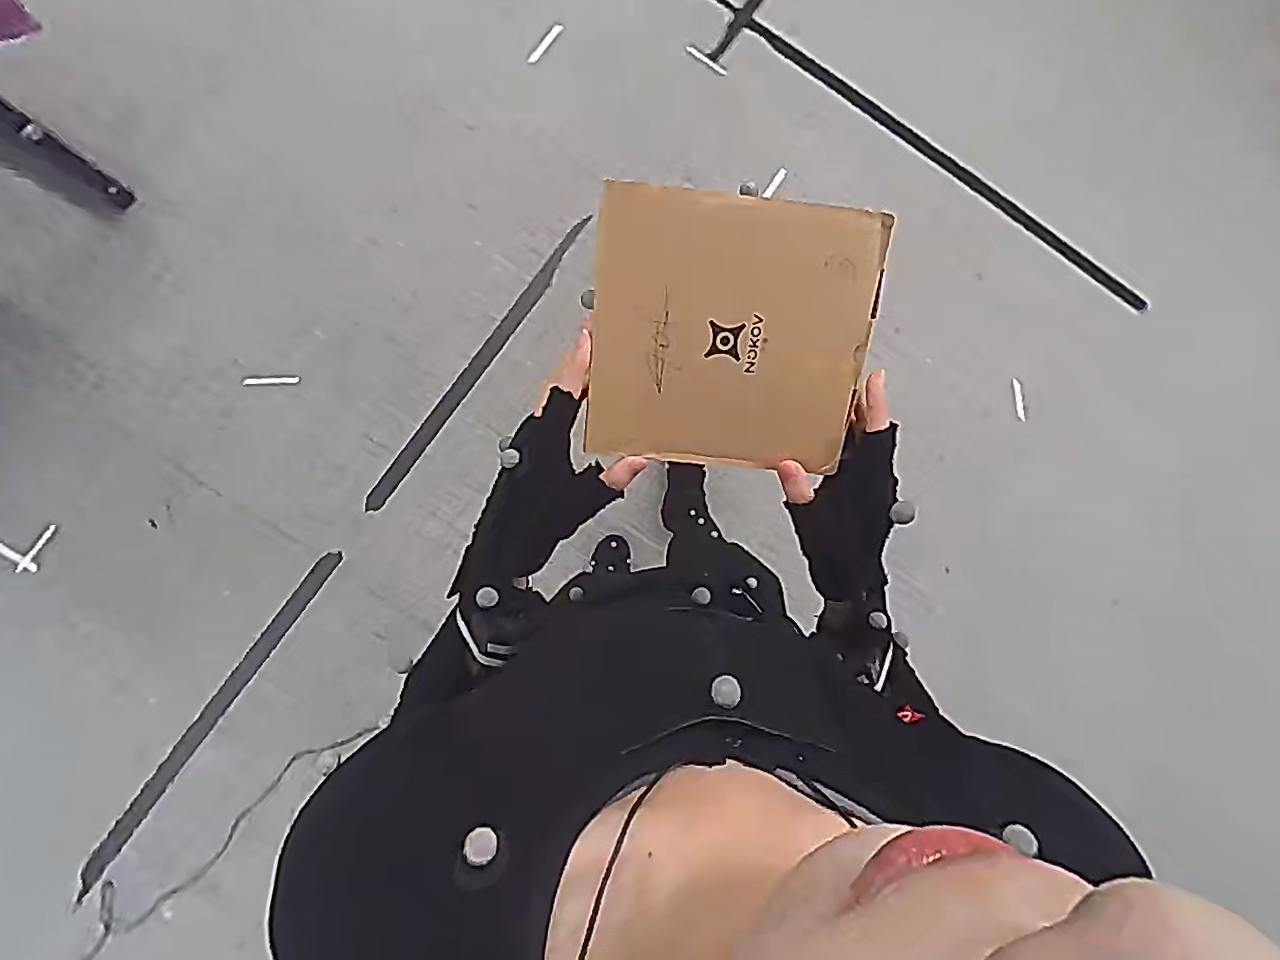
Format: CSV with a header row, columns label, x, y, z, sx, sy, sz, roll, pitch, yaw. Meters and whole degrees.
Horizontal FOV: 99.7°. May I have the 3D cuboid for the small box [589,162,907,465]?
label,x,y,z,sx,sy,sz,roll,pitch,yaw
small box,0.058,-0.117,0.404,0.179,0.176,0.168,4,107,-2
